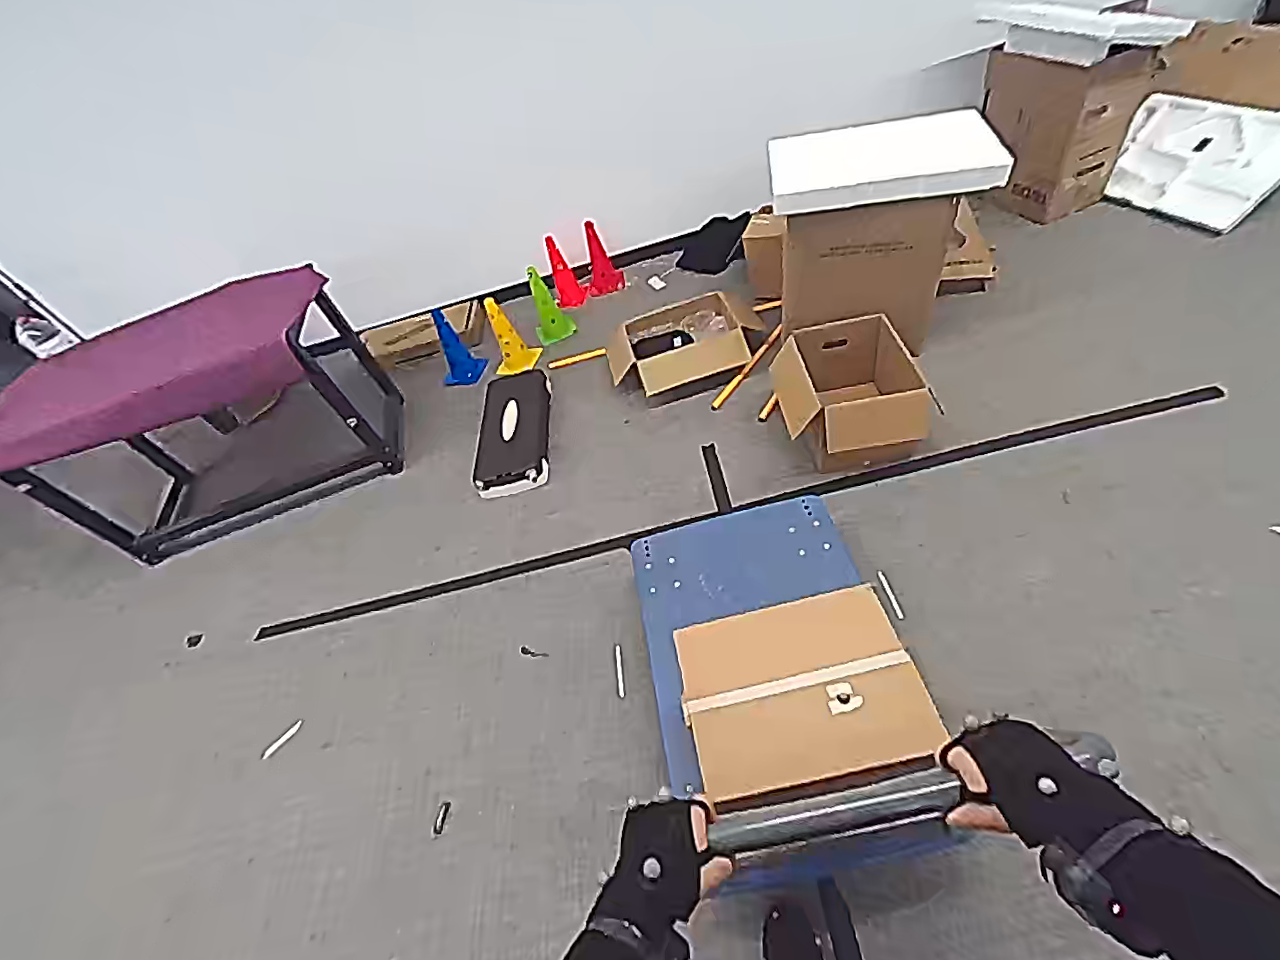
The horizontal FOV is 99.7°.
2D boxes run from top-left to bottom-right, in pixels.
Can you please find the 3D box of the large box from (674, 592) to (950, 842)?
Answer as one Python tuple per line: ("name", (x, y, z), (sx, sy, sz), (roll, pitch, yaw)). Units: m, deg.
("large box", (0.308, 0.474, 1.071), (0.408, 0.320, 0.320), (-14, 47, 3))
